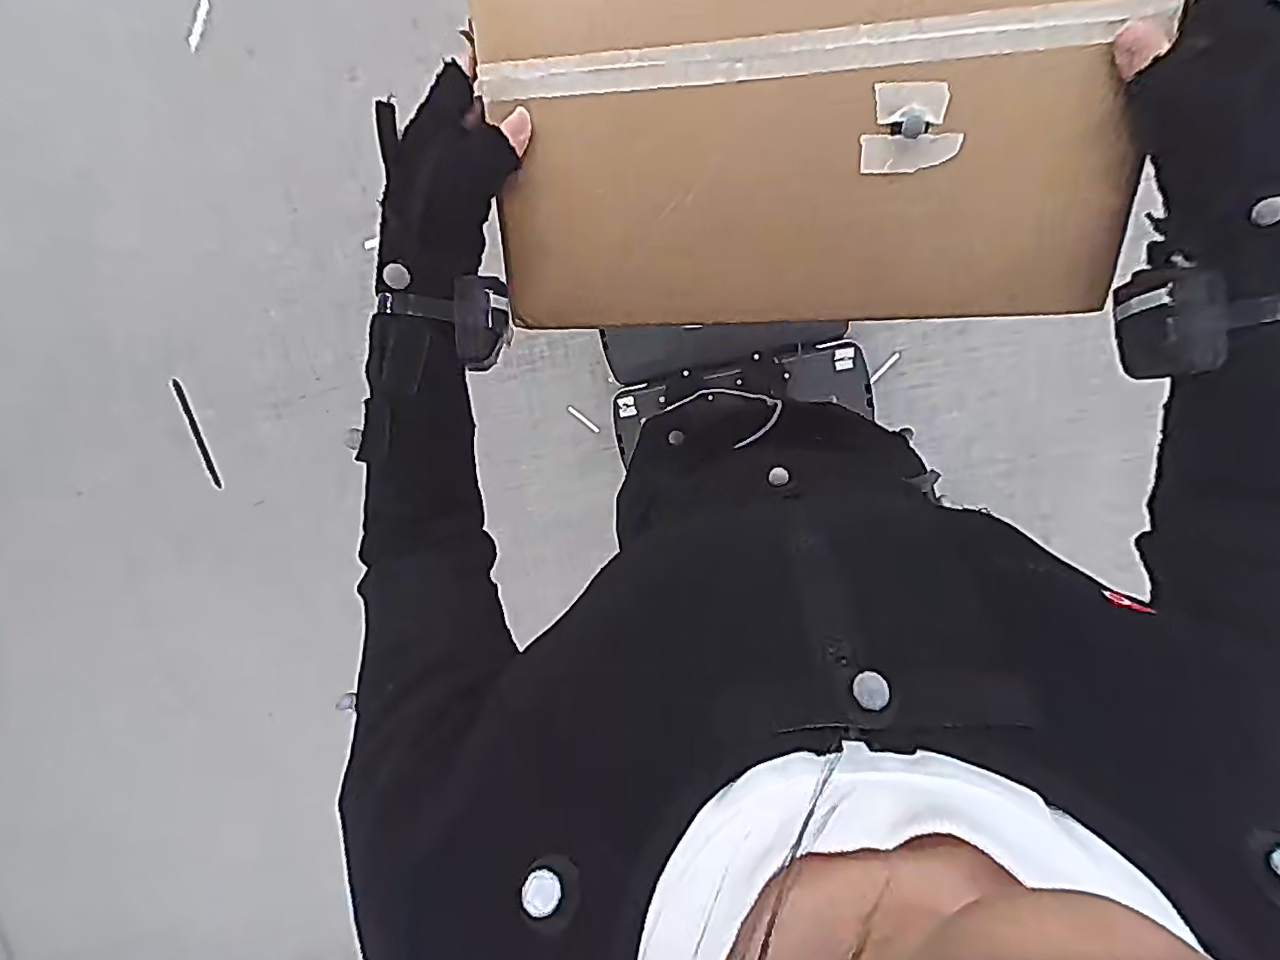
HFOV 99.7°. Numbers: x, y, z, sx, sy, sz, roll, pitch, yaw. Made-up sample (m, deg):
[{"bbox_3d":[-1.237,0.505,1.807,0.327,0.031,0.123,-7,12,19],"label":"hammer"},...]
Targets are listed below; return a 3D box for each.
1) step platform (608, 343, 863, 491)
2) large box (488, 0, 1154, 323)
[{"bbox_3d":[0.255,-0.169,1.509,0.684,0.204,0.286,-11,101,14],"label":"step platform"},{"bbox_3d":[0.116,-0.321,0.477,0.408,0.320,0.320,0,112,7],"label":"large box"}]
